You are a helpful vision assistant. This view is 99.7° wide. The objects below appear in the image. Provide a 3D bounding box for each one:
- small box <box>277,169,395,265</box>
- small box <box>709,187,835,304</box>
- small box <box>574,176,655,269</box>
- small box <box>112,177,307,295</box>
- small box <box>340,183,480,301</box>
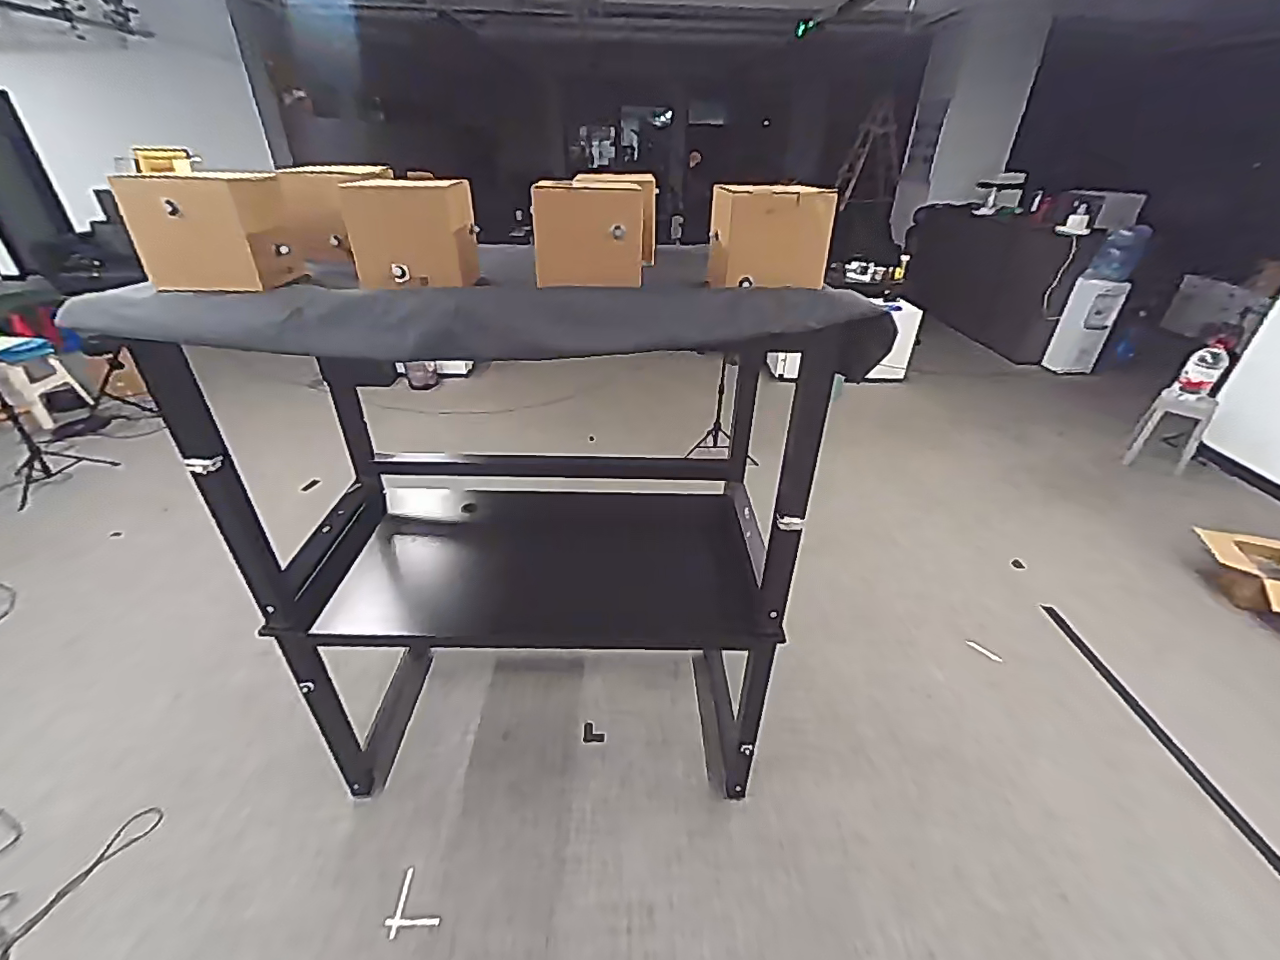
[{"bbox_3d":[-0.629,-0.566,1.167,0.179,0.176,0.168,0,32,-3],"label":"small box"},{"bbox_3d":[0.217,-0.407,0.938,0.168,0.176,0.179,-1,31,-3],"label":"small box"},{"bbox_3d":[-0.052,-0.566,1.189,0.168,0.176,0.179,0,32,-2],"label":"small box"},{"bbox_3d":[-0.711,-0.416,0.919,0.179,0.176,0.168,-1,31,-5],"label":"small box"},{"bbox_3d":[-0.379,-0.412,0.929,0.168,0.176,0.179,-2,31,-4],"label":"small box"}]
